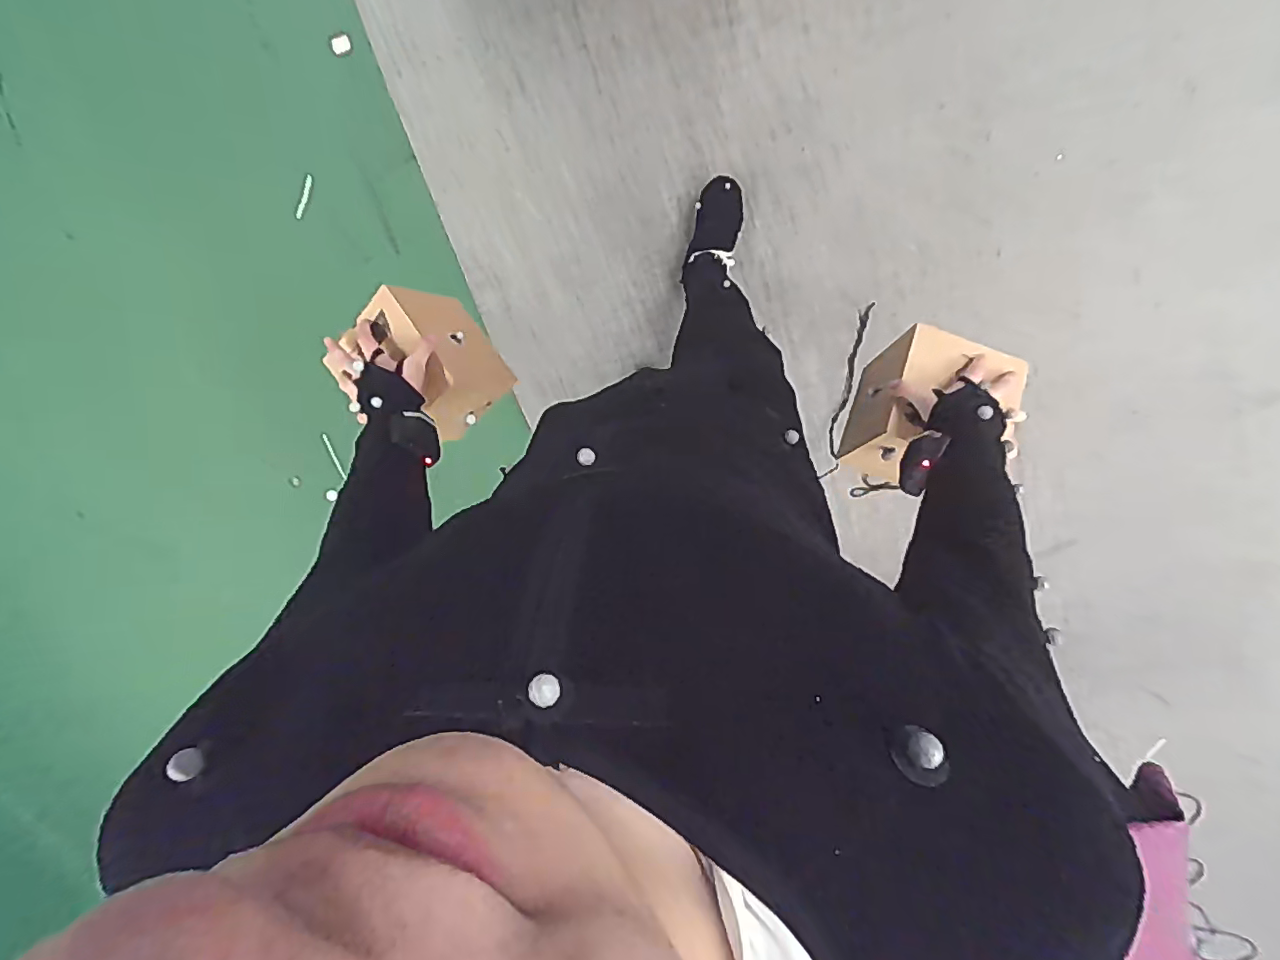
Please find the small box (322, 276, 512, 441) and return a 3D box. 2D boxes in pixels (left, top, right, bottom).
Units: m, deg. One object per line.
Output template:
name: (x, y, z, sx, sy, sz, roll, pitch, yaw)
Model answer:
small box: (-0.340, -0.184, 0.846, 0.168, 0.176, 0.179, -38, 88, 21)
